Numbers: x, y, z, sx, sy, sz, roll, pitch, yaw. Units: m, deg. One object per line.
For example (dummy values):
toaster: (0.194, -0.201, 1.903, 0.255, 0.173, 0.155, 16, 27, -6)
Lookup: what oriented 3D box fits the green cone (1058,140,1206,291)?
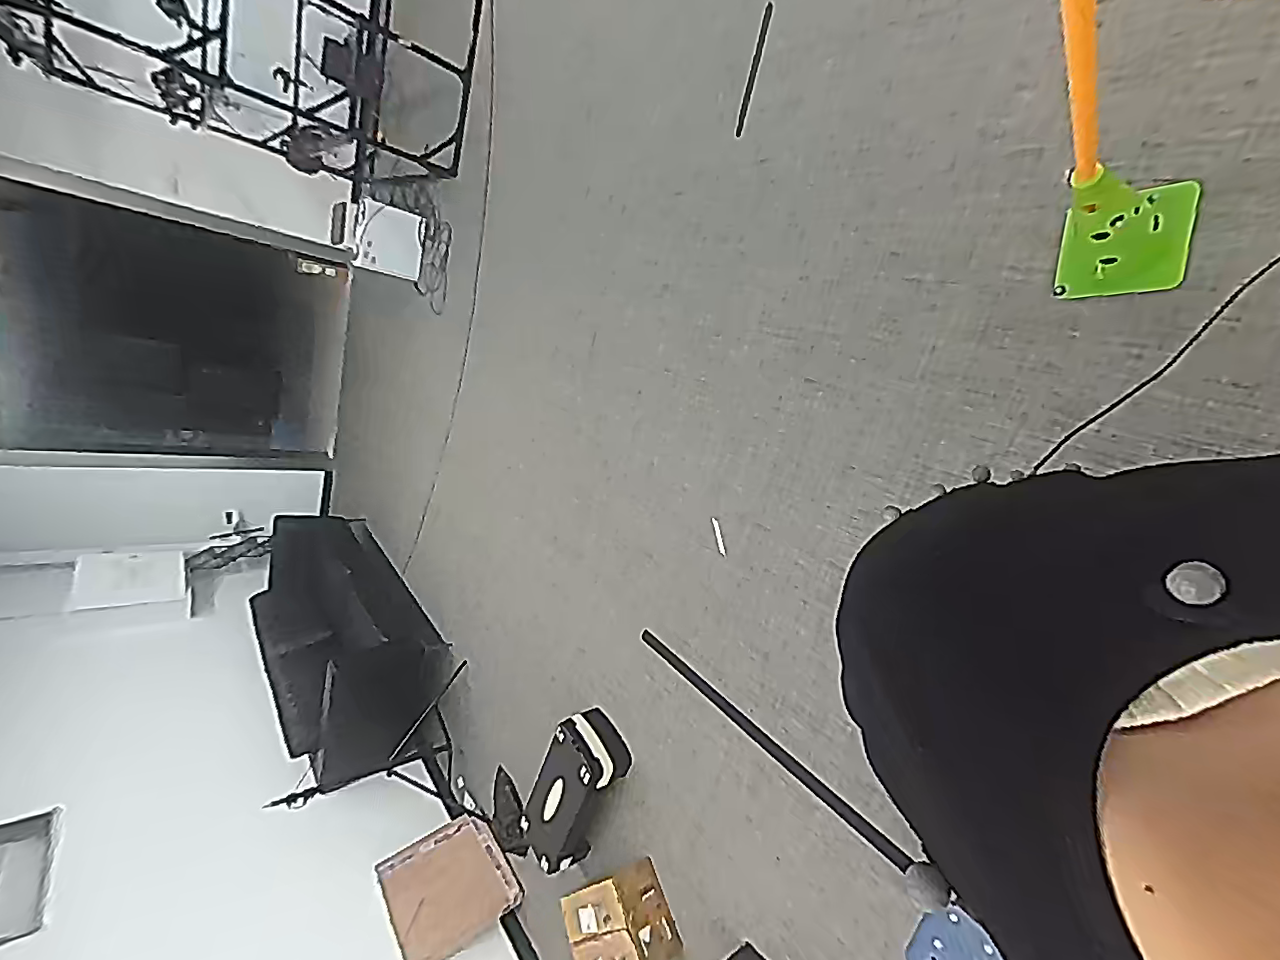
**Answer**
green cone: (0.823, -0.486, 0.942, 0.200, 0.368, 0.202, 11, 96, 48)
